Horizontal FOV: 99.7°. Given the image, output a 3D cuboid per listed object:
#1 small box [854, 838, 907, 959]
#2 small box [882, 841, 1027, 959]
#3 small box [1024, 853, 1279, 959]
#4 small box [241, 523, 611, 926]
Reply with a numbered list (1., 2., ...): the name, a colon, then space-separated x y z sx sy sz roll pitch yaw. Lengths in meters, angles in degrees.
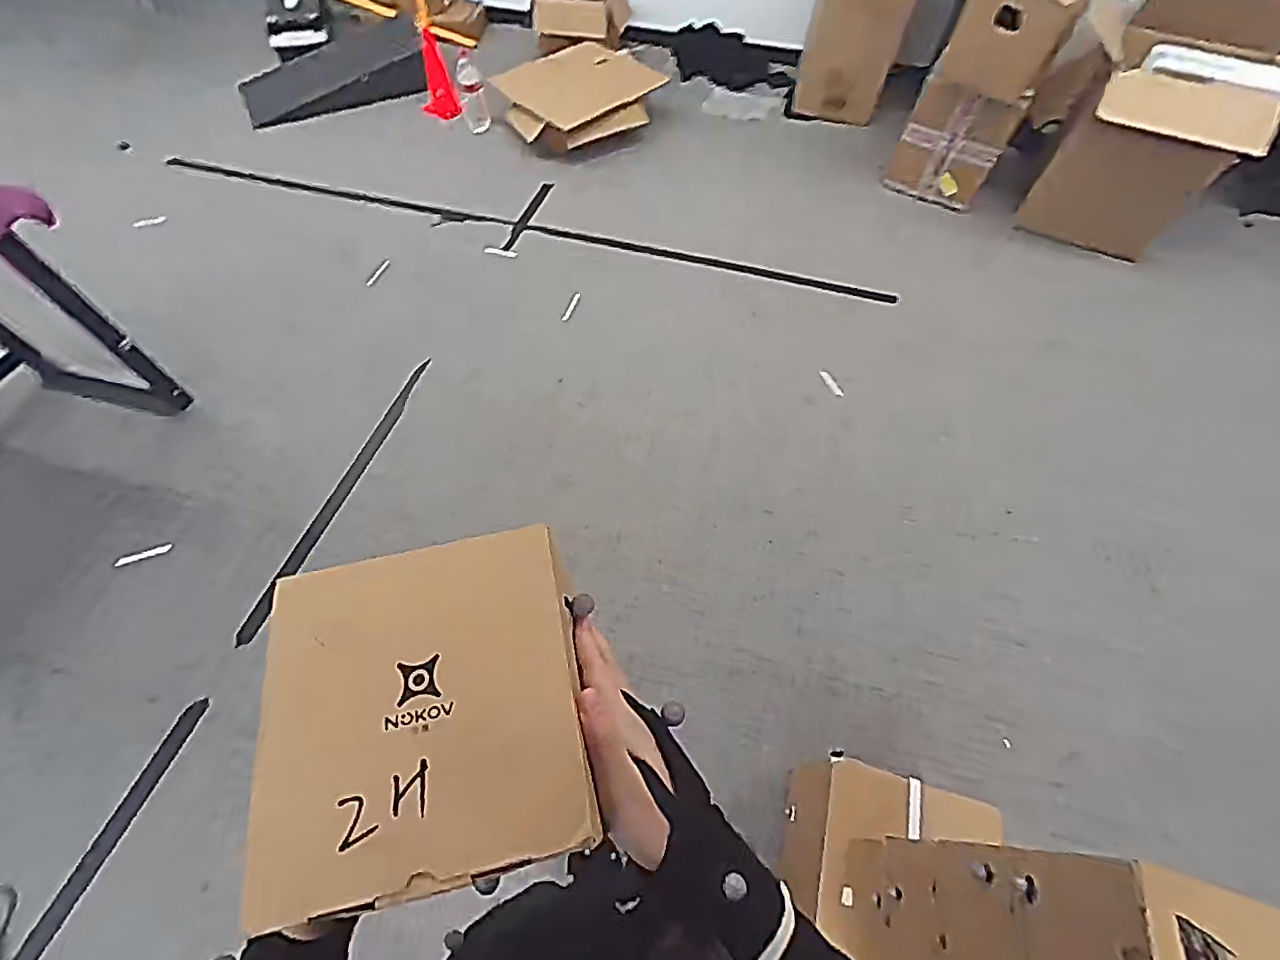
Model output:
1. small box: 0.447 0.684 0.847 0.168 0.176 0.179 12 60 8
2. small box: 0.442 0.593 0.712 0.179 0.176 0.168 13 59 9
3. small box: 0.441 0.421 0.432 0.179 0.176 0.168 15 60 9
4. small box: -0.119 0.155 0.363 0.168 0.176 0.179 -13 61 -5
